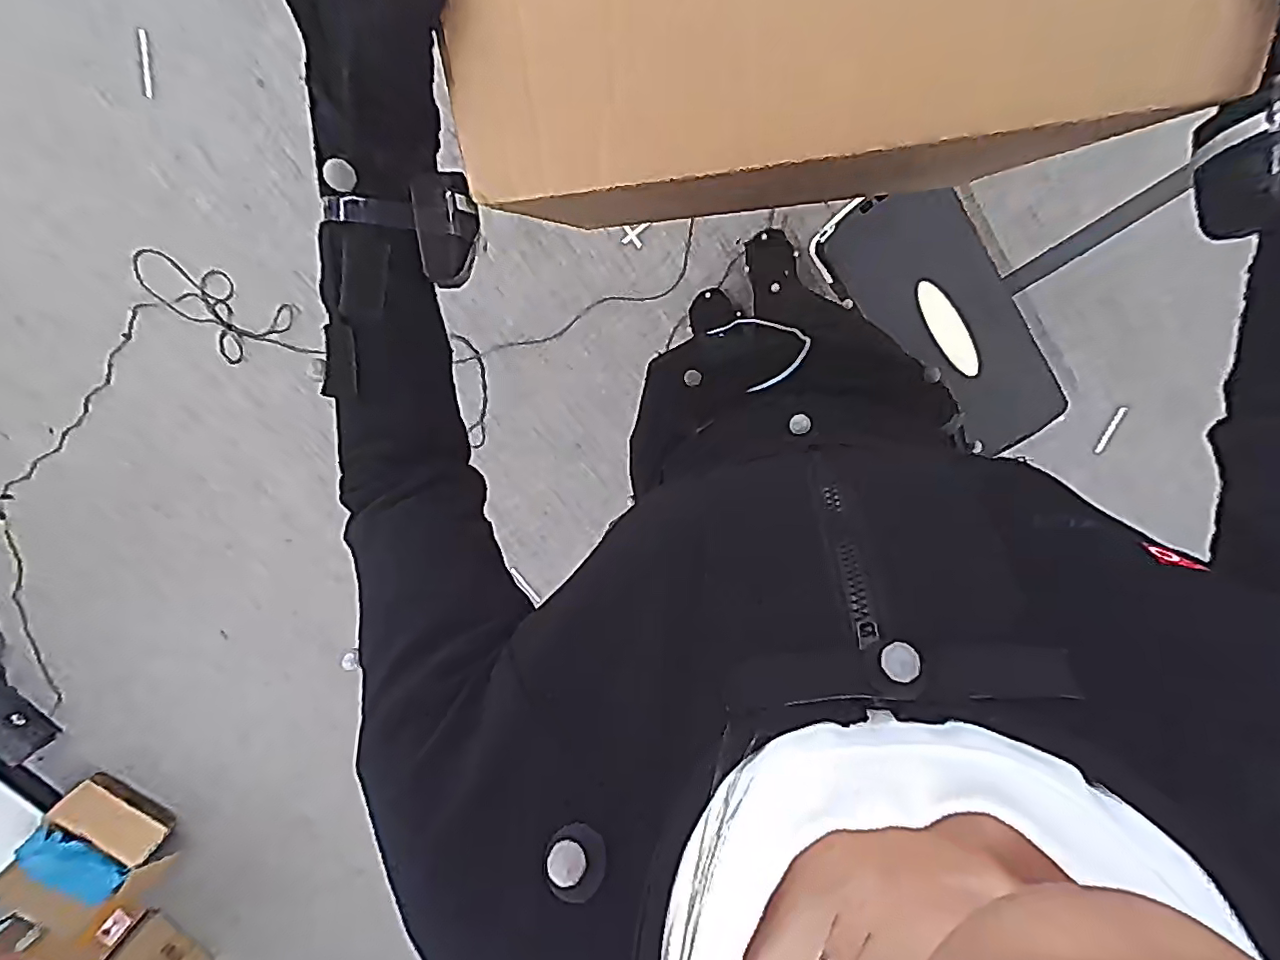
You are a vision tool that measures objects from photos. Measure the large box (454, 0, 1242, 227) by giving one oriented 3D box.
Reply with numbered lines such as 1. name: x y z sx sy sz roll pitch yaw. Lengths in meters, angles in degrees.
1. large box: 0.099 -0.386 0.388 0.408 0.320 0.320 -4 112 8
